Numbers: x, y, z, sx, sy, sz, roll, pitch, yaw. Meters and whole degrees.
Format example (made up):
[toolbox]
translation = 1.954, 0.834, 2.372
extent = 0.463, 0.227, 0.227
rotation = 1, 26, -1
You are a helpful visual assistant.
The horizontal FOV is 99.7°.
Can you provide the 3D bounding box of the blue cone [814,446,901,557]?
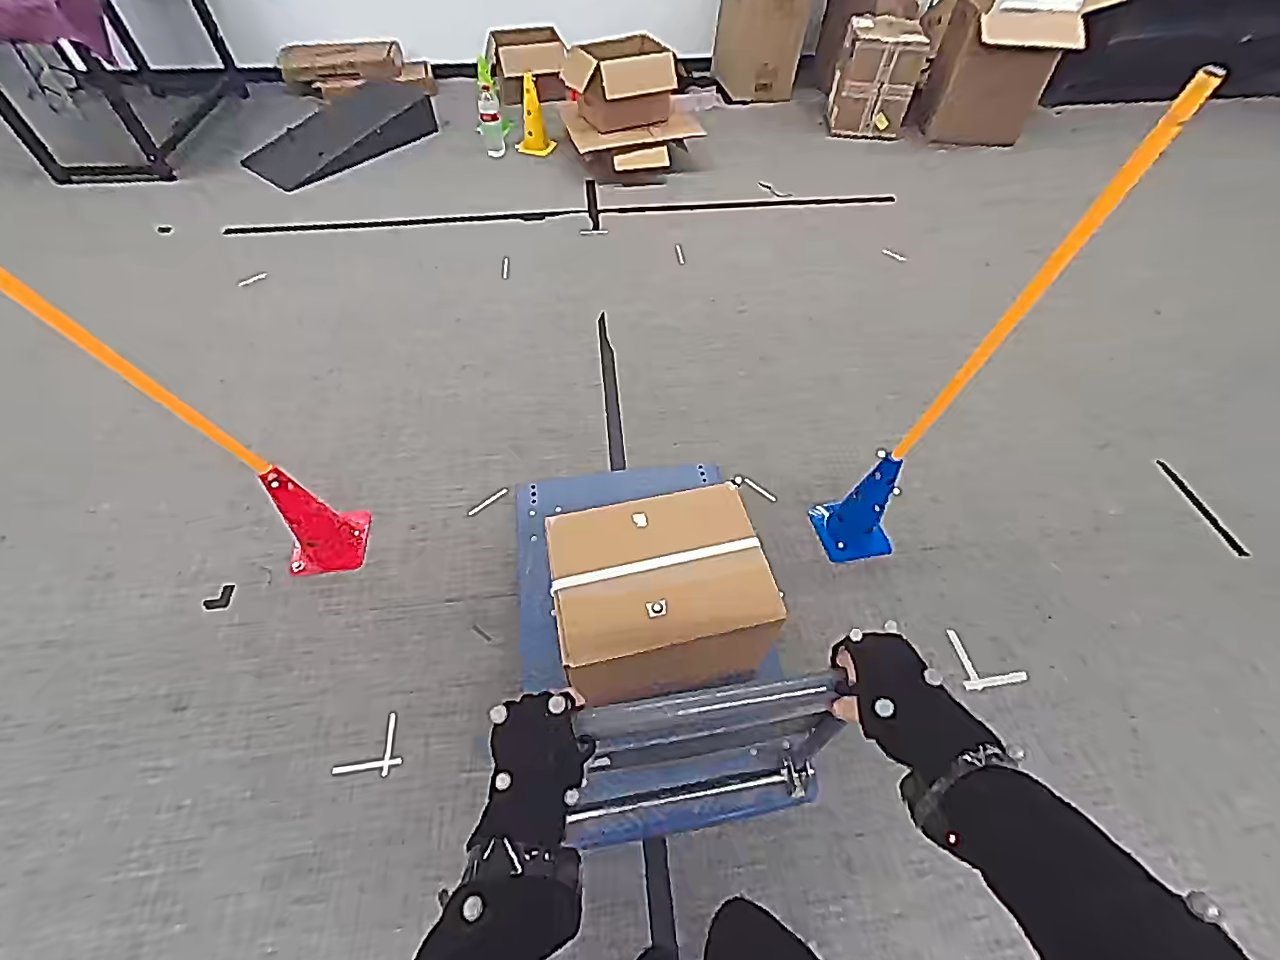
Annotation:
[blue cone]
translation = 0.646, 0.047, 1.513
extent = 0.193, 0.380, 0.192
rotation = -8, 53, -7
